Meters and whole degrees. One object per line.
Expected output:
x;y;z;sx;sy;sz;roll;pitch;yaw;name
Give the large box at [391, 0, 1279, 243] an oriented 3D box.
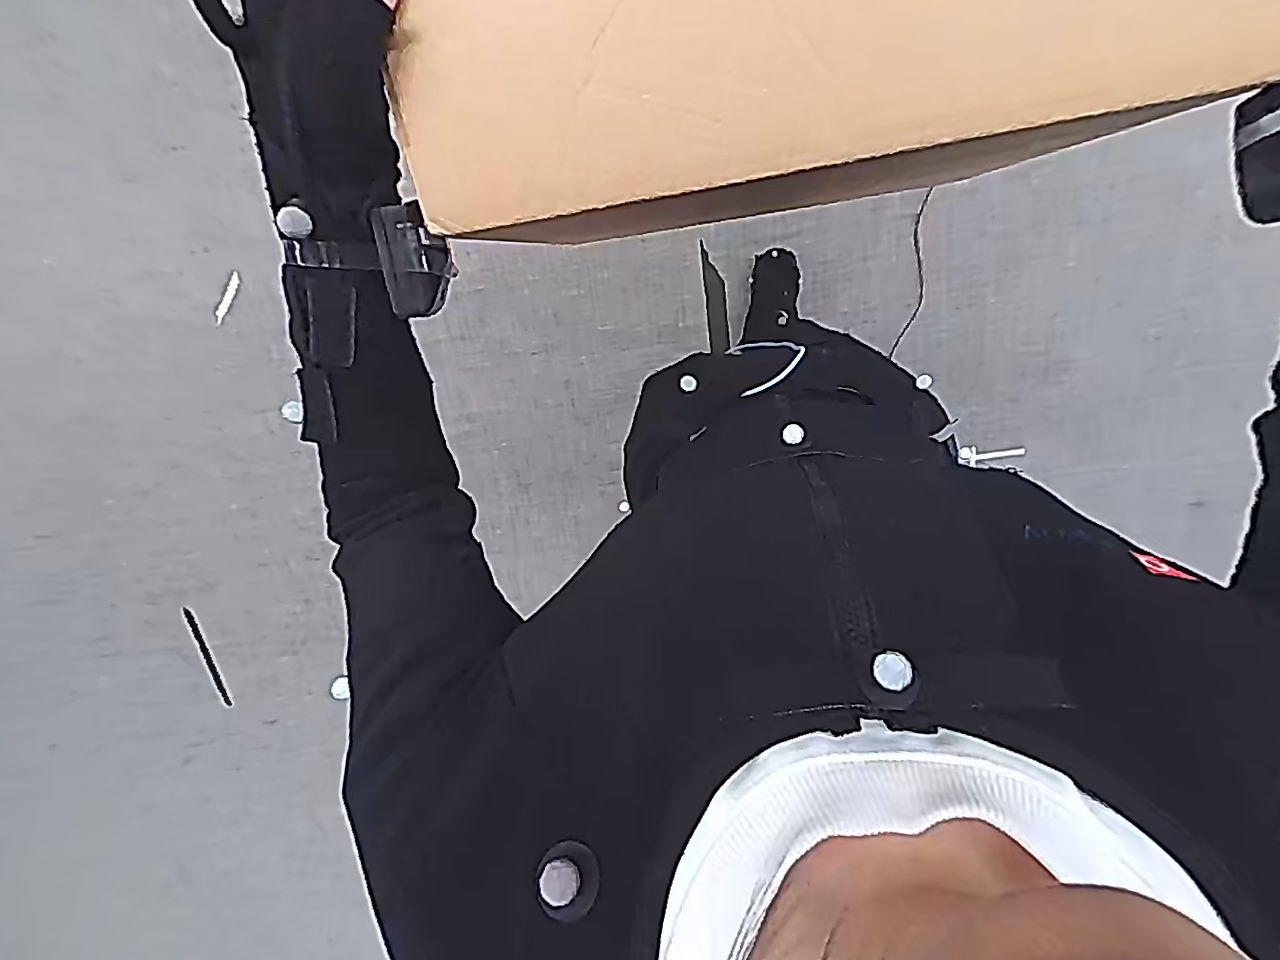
0.077;-0.362;0.357;0.408;0.320;0.320;-6;112;9;large box
